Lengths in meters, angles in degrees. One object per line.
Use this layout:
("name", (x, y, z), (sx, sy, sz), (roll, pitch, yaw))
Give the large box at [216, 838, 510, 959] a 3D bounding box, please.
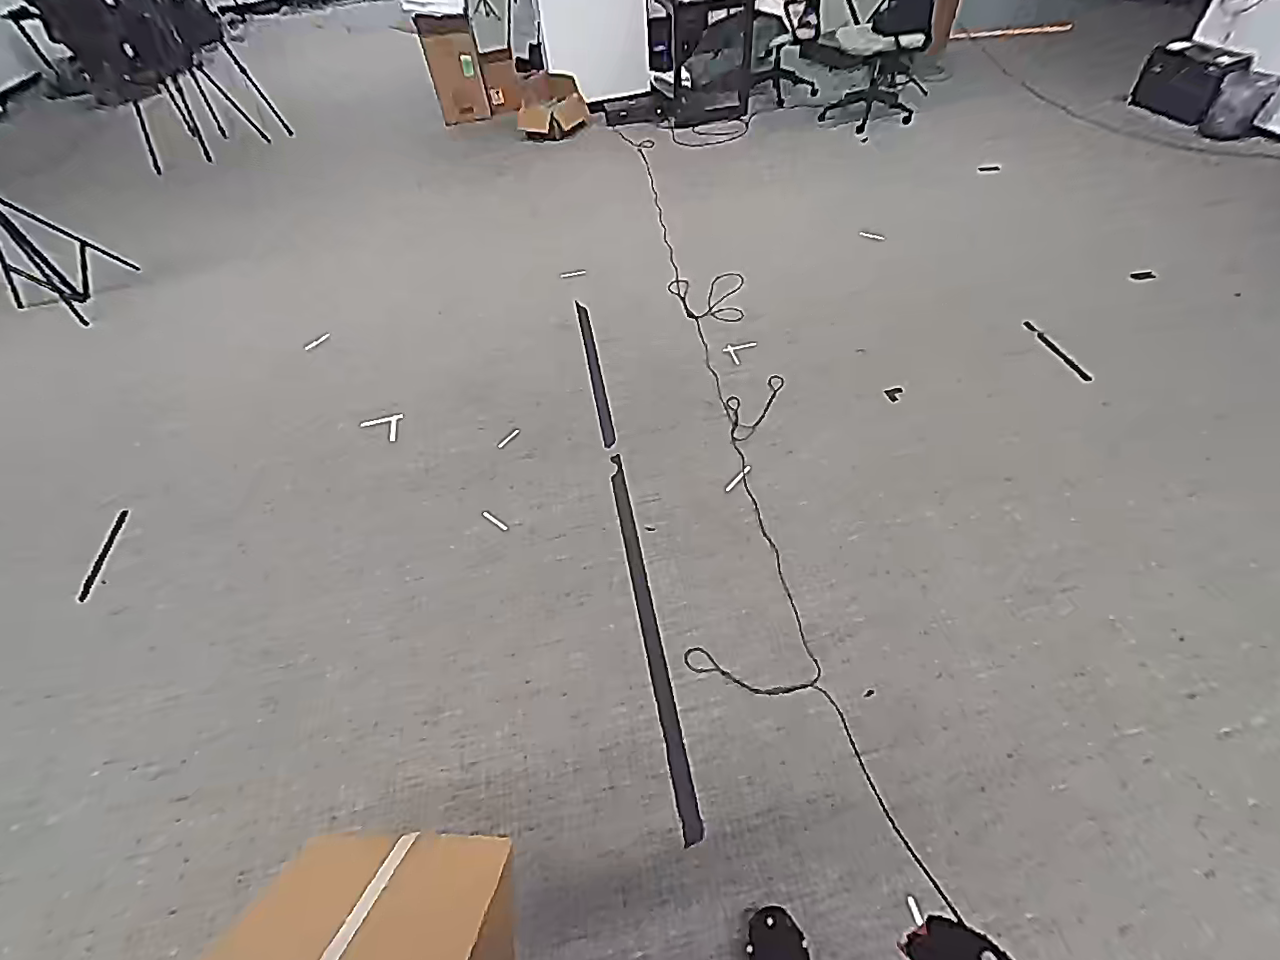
("large box", (-0.355, 0.720, 0.646), (0.320, 0.408, 0.320), (-1, 94, 2))
